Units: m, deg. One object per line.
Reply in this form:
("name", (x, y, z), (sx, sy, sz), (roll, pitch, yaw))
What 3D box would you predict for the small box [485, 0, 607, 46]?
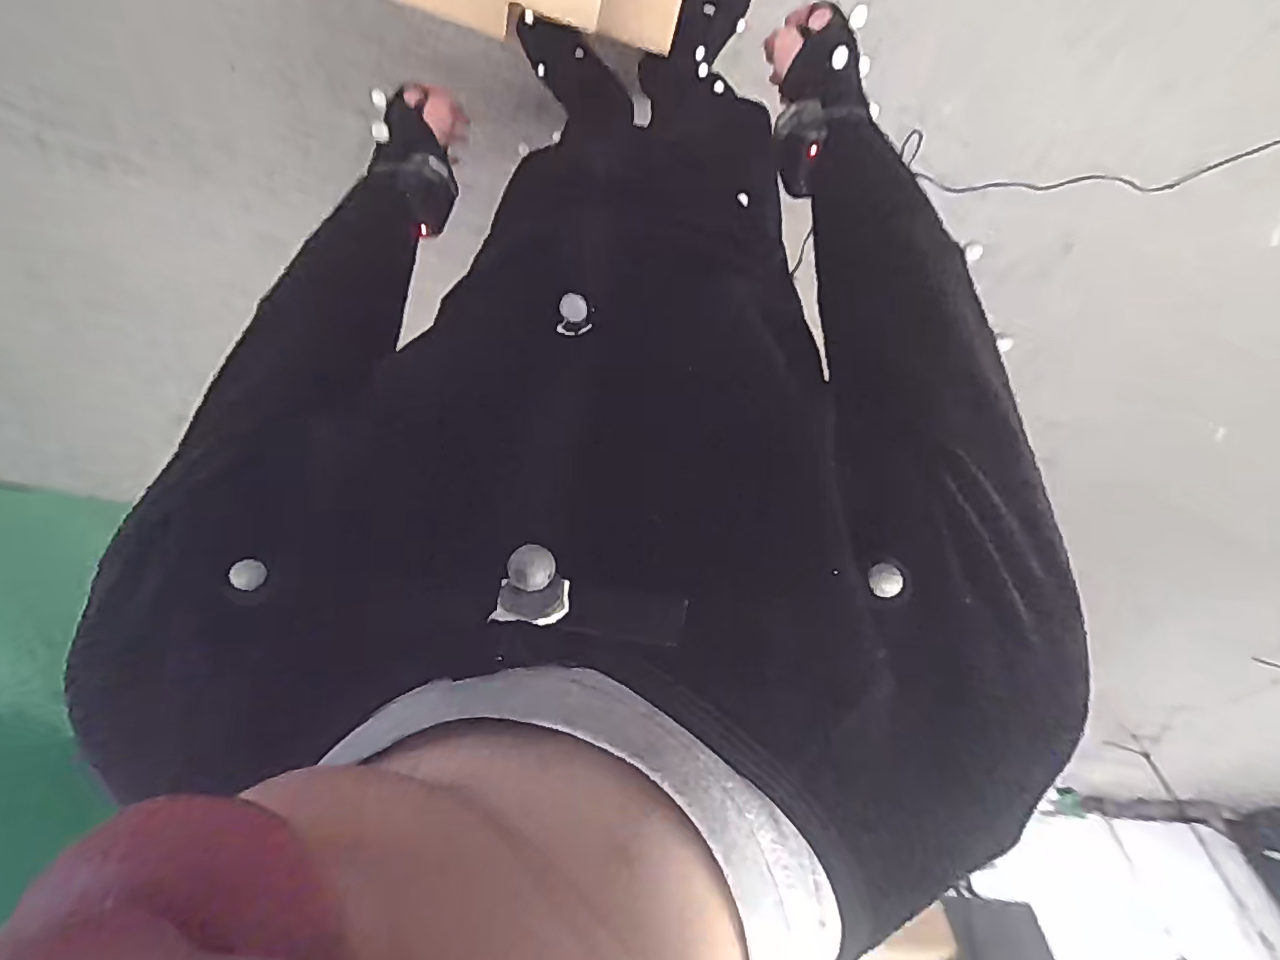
("small box", (-0.100, -0.614, 0.576), (0.168, 0.176, 0.179), (12, 136, -14))
